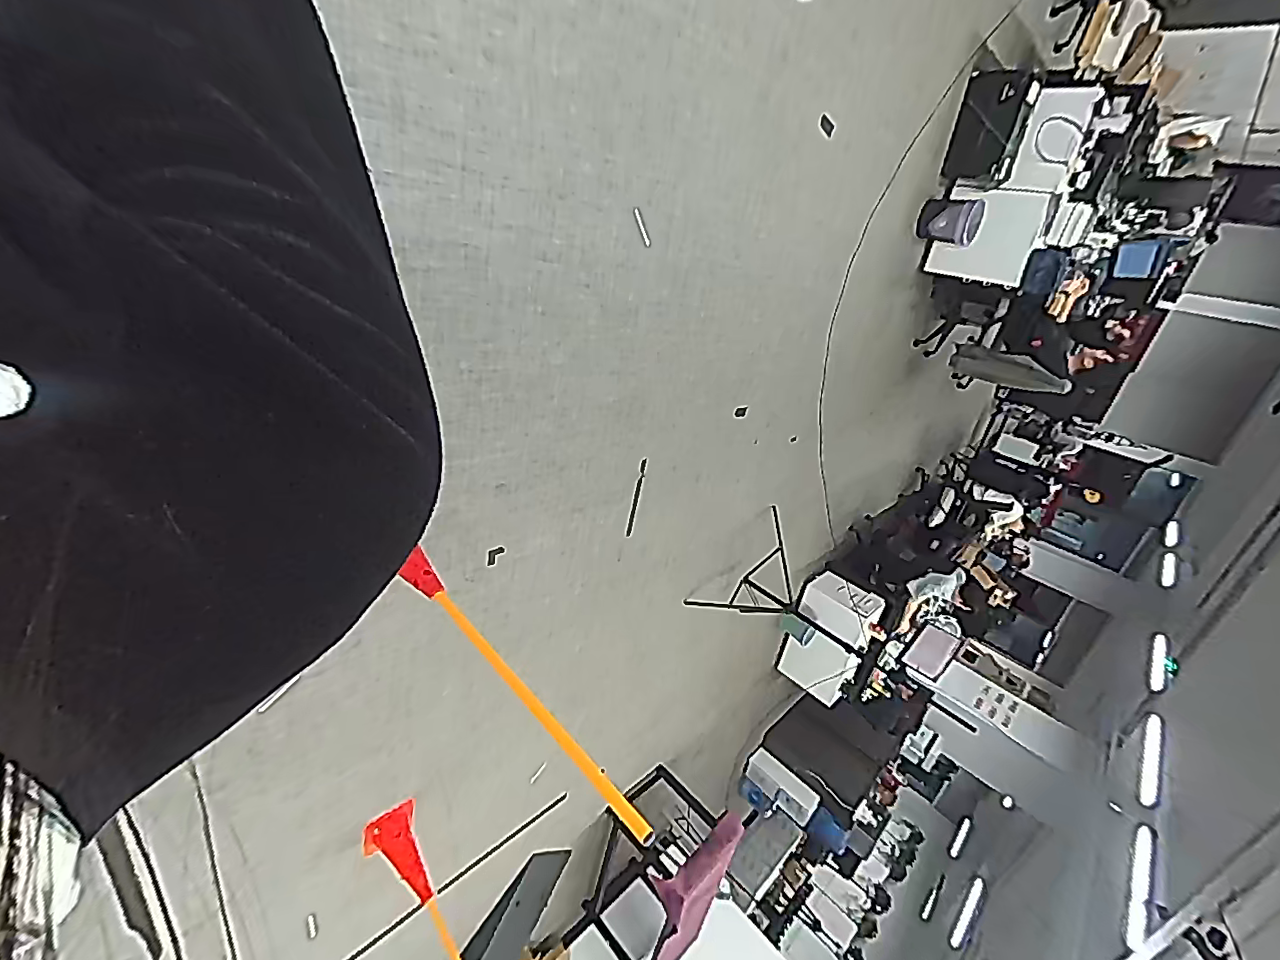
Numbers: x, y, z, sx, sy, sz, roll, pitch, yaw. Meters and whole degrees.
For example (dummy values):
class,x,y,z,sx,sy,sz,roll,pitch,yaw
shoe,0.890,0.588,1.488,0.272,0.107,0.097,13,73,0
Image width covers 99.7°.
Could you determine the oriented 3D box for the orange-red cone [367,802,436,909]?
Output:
class,x,y,z,sx,sy,sz,roll,pitch,yaw
orange-red cone,-0.889,1.492,2.096,0.198,0.360,0.199,-11,123,-45
